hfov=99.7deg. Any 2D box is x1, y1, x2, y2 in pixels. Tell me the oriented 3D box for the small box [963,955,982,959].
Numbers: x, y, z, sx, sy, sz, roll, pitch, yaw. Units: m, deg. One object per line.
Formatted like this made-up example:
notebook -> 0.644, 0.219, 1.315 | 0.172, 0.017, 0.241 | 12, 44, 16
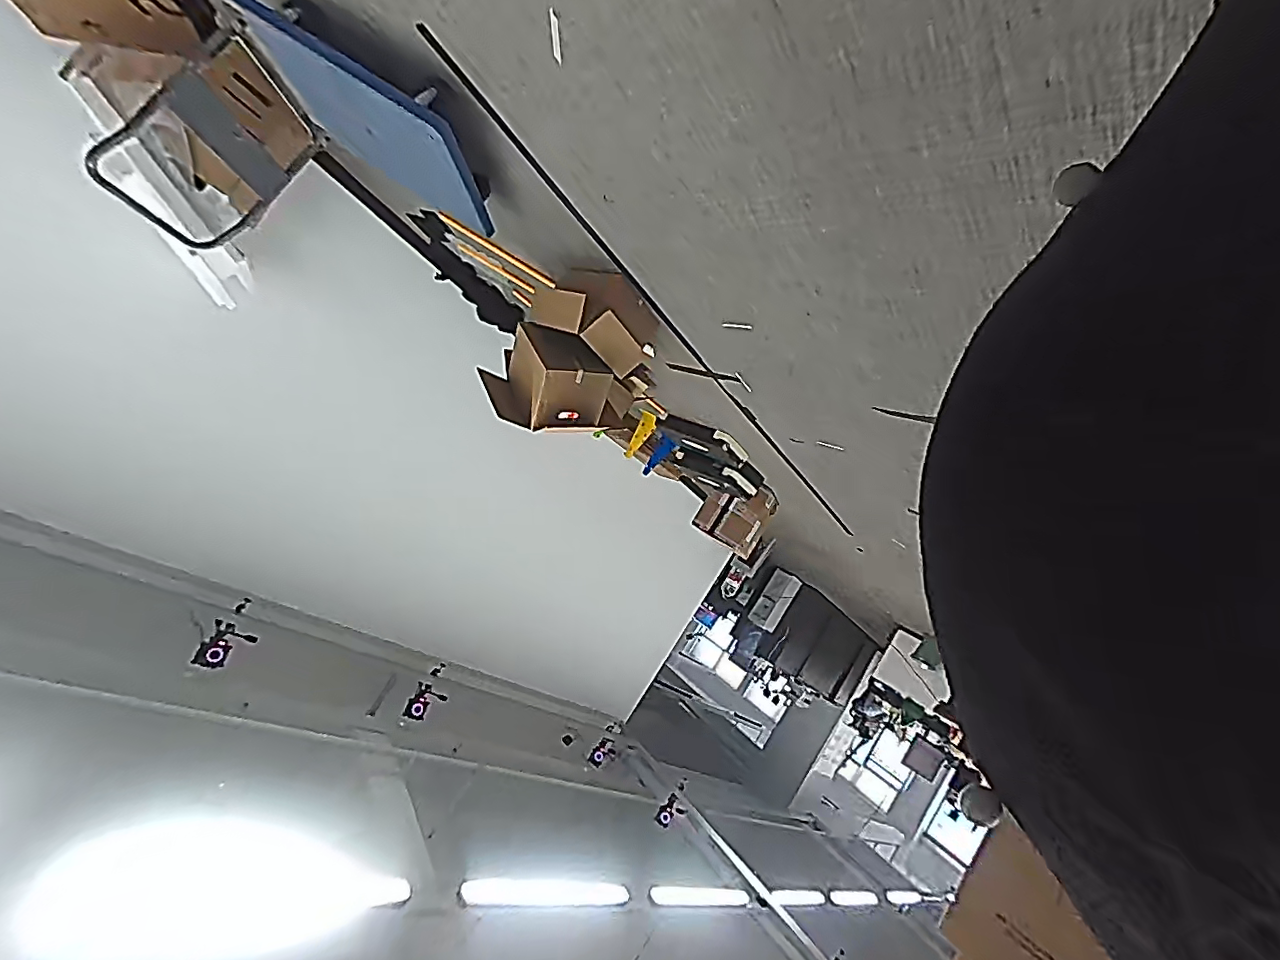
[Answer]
small box -> 1.082, 1.632, 1.685 | 0.179, 0.176, 0.168 | 40, 170, -34
